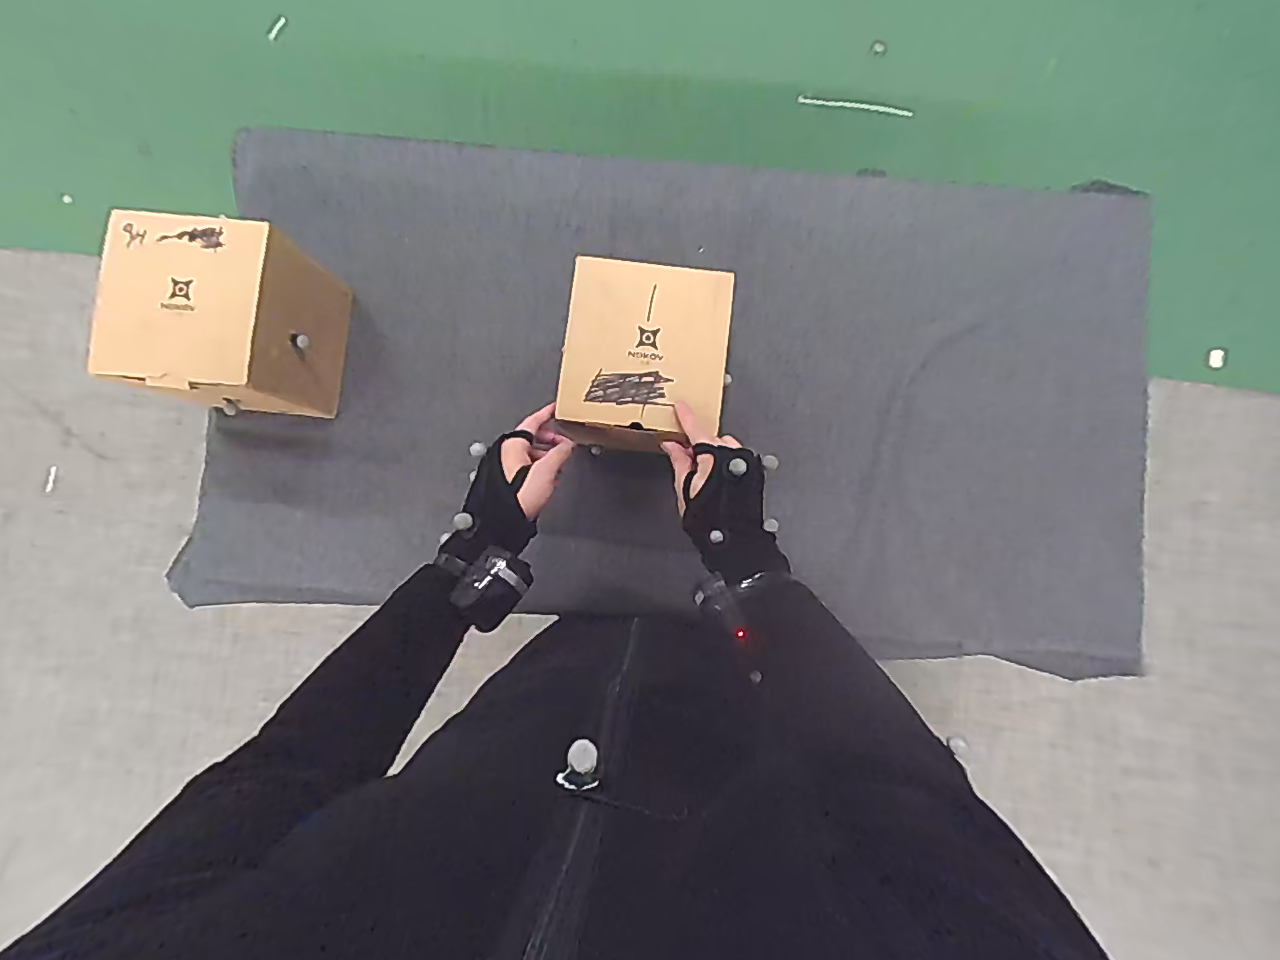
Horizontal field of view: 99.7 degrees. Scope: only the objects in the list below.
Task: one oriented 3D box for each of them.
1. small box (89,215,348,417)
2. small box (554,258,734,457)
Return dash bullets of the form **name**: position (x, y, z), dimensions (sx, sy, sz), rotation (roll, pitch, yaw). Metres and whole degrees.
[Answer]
- **small box**: position (-0.466, -0.173, 0.626), dimensions (0.168, 0.176, 0.179), rotation (5, 87, -1)
- **small box**: position (0.006, -0.126, 0.622), dimensions (0.168, 0.176, 0.179), rotation (7, 86, 1)
